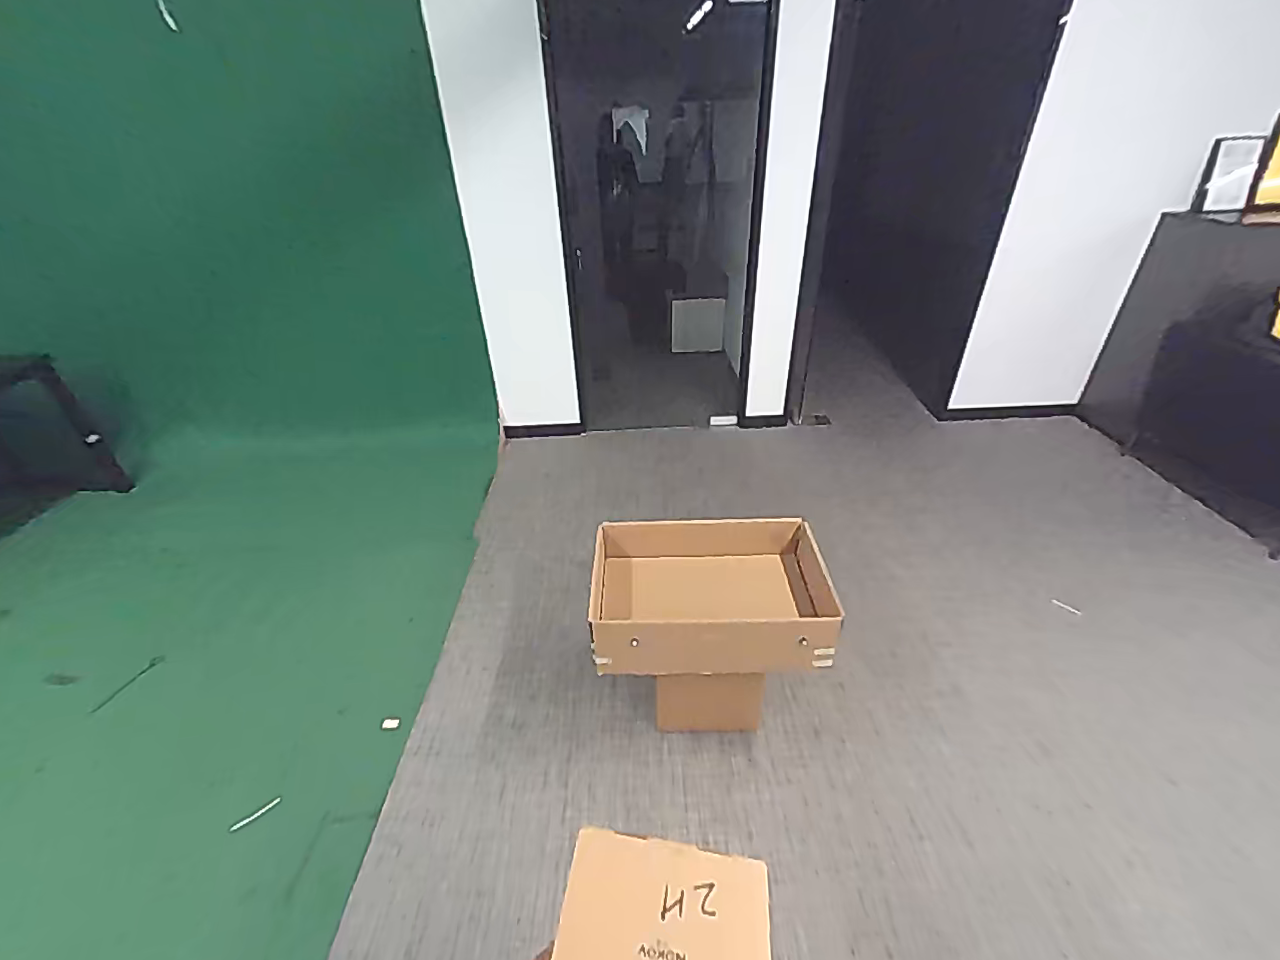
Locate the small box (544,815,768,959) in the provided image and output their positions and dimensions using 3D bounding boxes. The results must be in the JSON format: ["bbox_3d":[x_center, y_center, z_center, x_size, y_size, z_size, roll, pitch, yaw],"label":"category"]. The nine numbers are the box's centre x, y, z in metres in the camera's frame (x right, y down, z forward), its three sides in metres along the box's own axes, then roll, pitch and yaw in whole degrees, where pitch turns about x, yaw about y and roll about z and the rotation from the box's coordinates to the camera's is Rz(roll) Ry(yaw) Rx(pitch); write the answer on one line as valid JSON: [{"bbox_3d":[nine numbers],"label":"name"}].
[{"bbox_3d":[0.007,0.418,0.442,0.168,0.176,0.179,9,36,5],"label":"small box"}]
